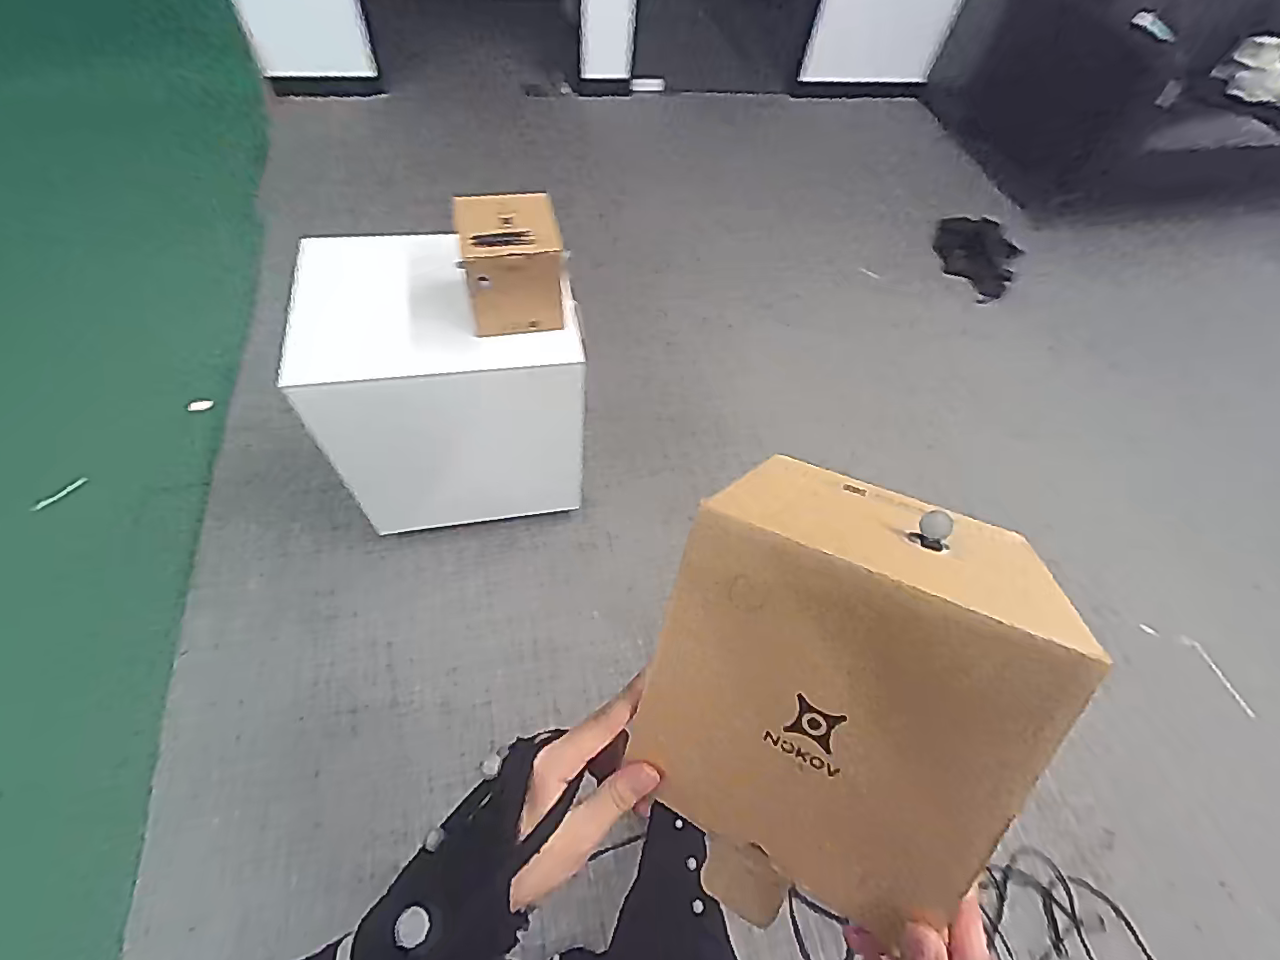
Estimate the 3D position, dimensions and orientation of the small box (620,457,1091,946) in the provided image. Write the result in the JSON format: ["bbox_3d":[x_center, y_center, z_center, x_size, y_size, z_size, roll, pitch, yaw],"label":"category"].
[{"bbox_3d":[0.111,0.097,0.324,0.168,0.179,0.176,20,20,20],"label":"small box"}]
